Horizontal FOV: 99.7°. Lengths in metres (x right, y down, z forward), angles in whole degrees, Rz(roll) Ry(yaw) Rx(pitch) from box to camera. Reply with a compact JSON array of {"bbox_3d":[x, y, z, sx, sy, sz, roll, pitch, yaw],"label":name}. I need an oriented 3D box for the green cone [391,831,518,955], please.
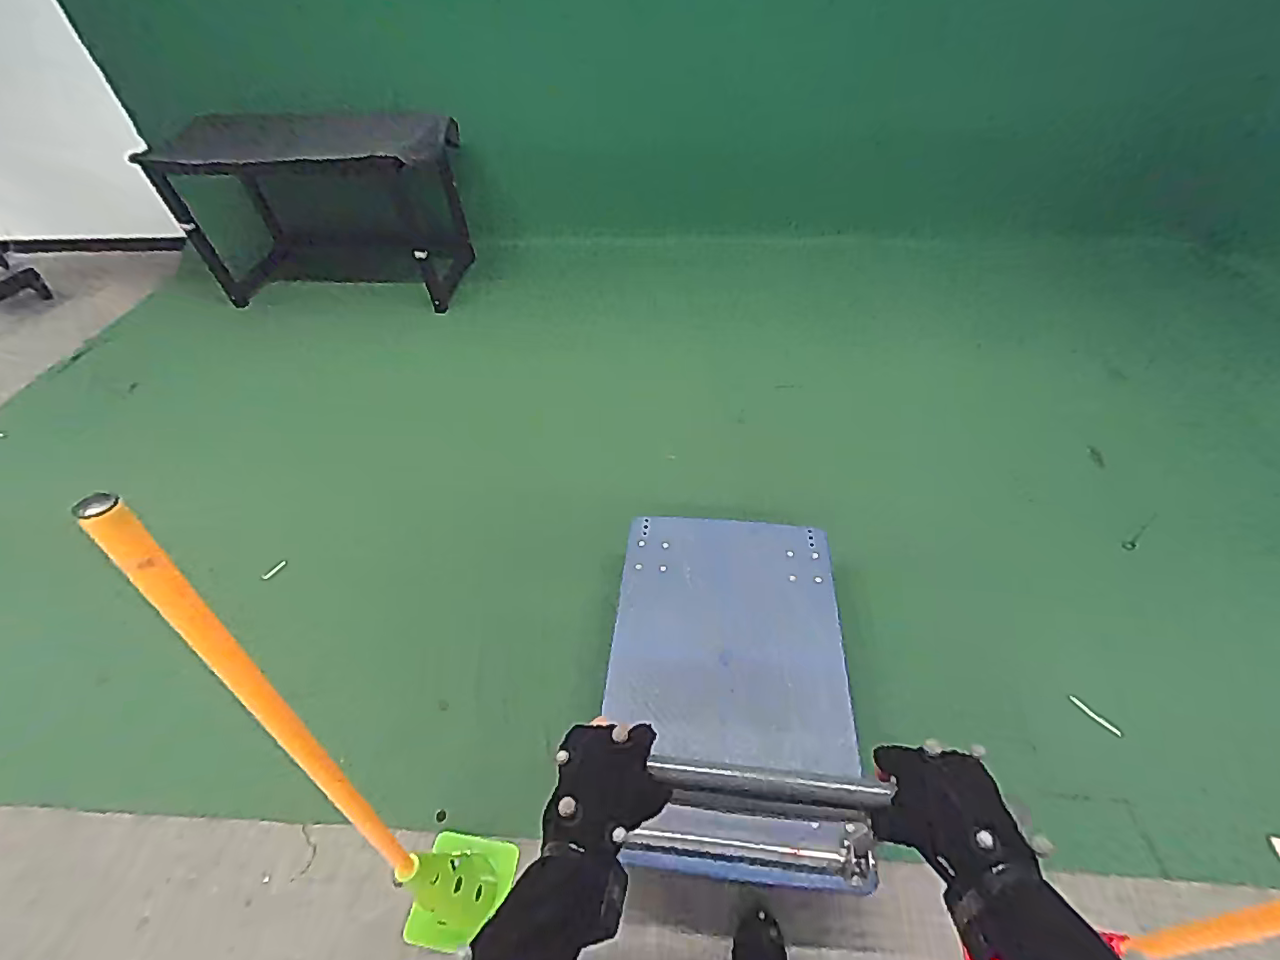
[{"bbox_3d":[-0.393,0.776,1.056,0.202,0.368,0.200,4,47,8],"label":"green cone"}]
